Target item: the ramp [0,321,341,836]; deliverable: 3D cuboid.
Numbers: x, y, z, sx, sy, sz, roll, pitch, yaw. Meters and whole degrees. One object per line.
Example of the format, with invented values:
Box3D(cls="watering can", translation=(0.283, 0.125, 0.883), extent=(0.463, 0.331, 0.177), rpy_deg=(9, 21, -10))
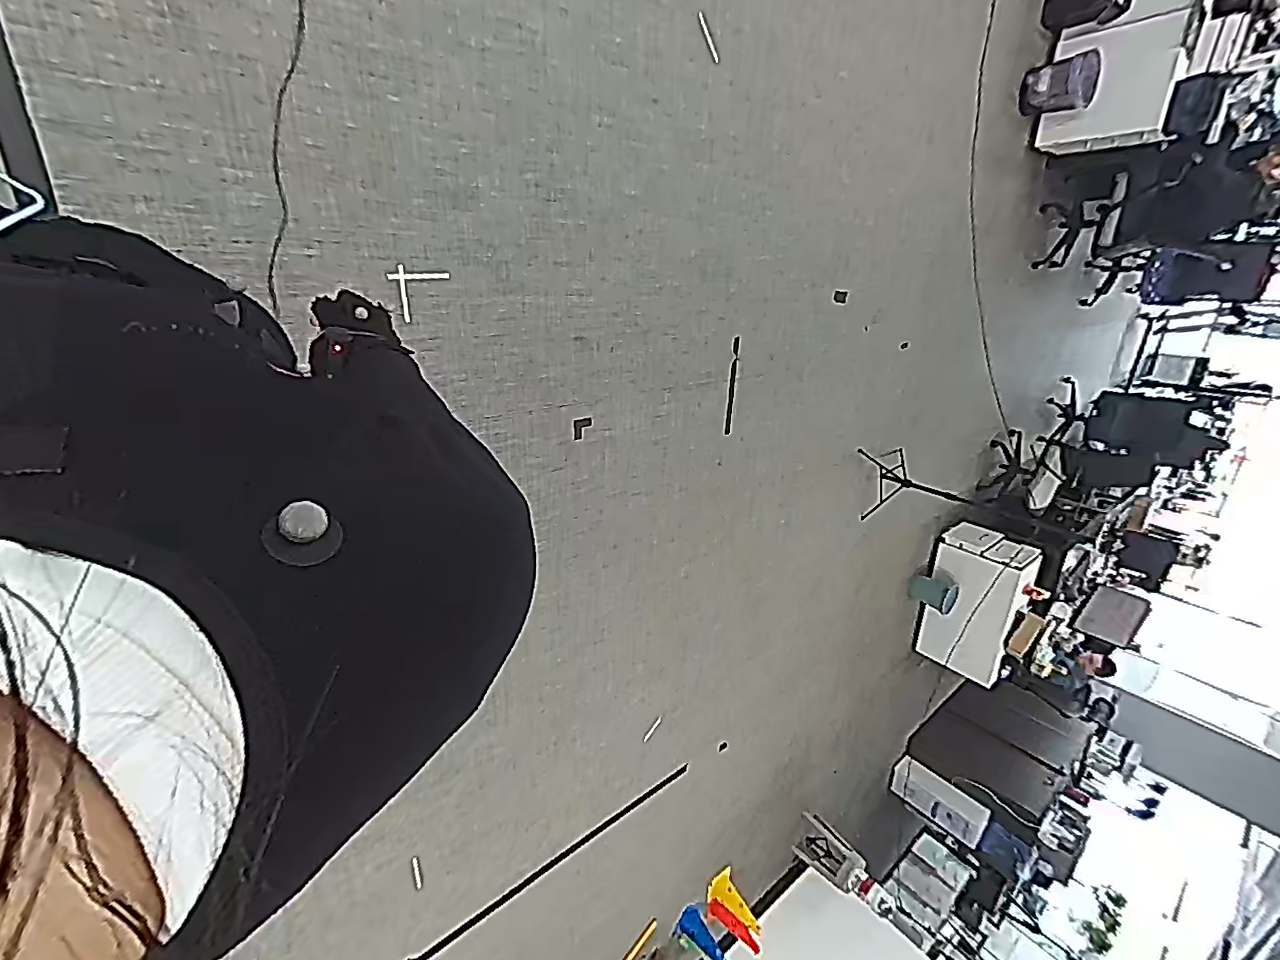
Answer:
Box3D(cls="ramp", translation=(-0.995, 0.184, 1.133), extent=(0.509, 0.206, 0.991), rpy_deg=(-15, 114, -34))
